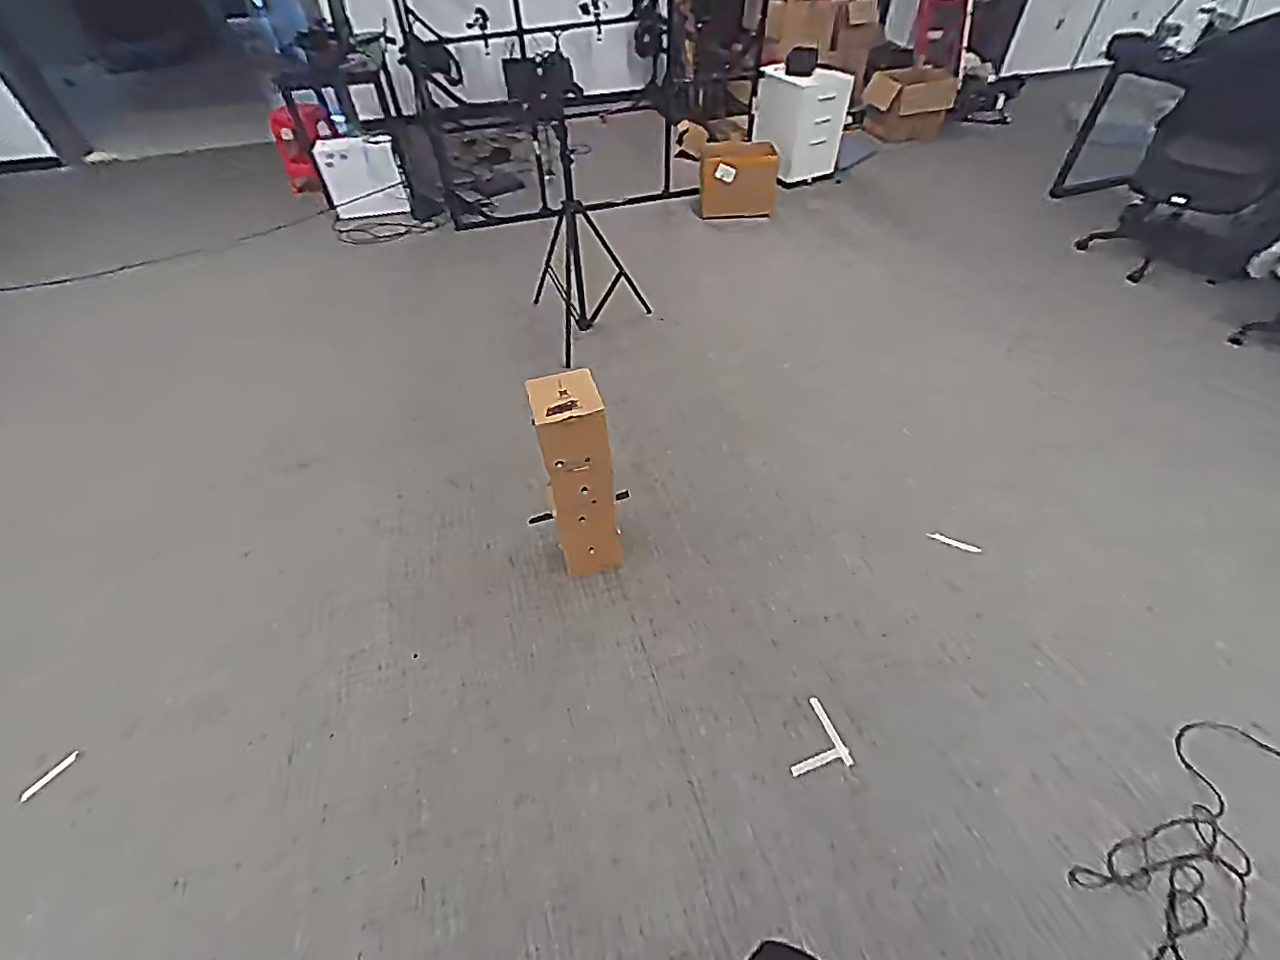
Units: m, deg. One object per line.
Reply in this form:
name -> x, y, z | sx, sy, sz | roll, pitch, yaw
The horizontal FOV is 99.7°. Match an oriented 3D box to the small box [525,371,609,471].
small box -> -0.179, -0.141, 1.352 | 0.168, 0.176, 0.179 | -14, 49, -10

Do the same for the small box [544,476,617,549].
small box -> -0.174, 0.082, 1.592 | 0.179, 0.176, 0.168 | -13, 50, -9

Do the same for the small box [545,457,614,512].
small box -> -0.171, -0.030, 1.474 | 0.168, 0.176, 0.179 | -13, 50, -9

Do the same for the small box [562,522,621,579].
small box -> -0.163, 0.187, 1.719 | 0.179, 0.176, 0.168 | -15, 50, -11
